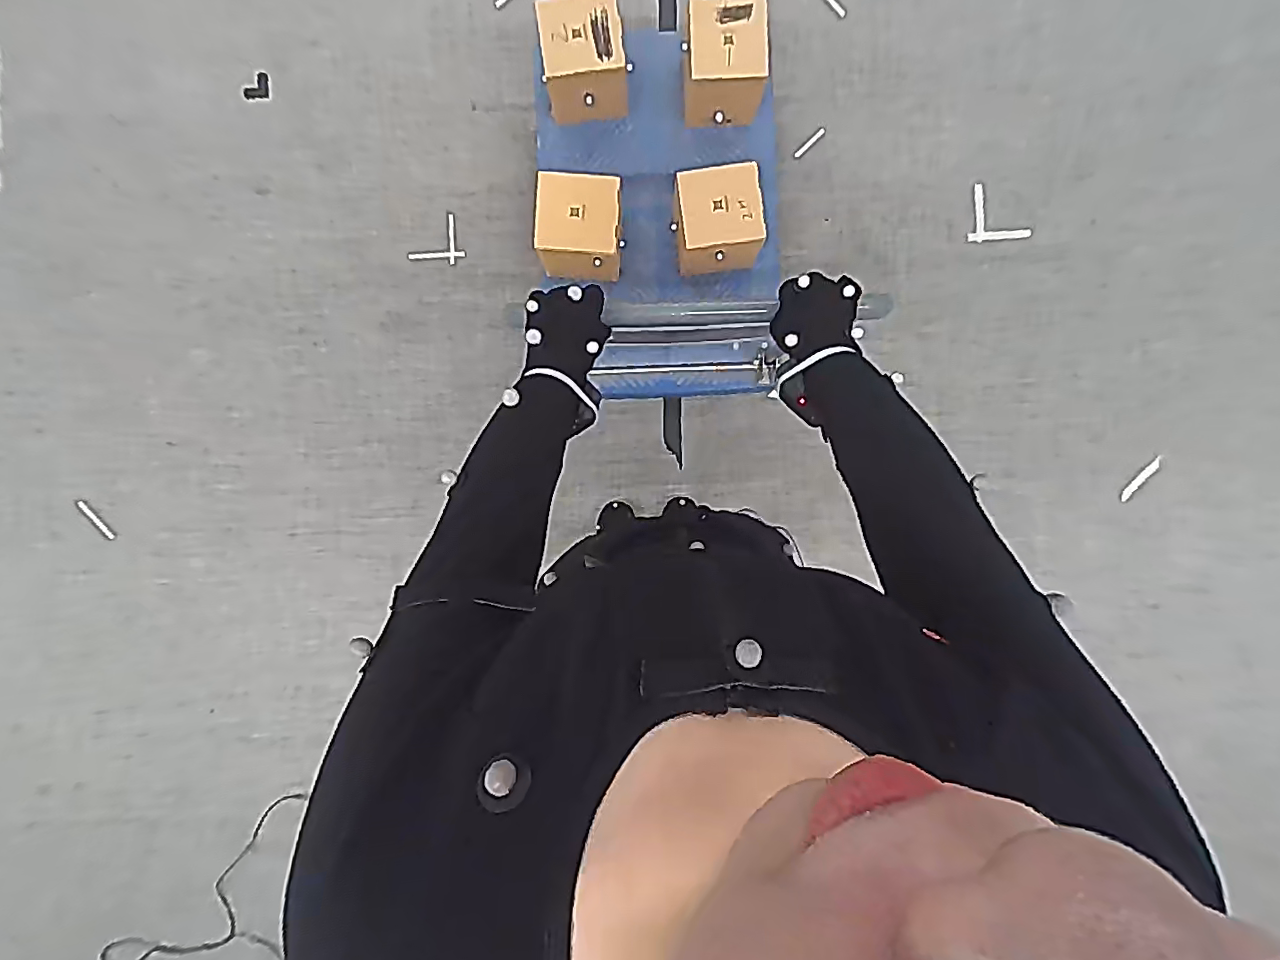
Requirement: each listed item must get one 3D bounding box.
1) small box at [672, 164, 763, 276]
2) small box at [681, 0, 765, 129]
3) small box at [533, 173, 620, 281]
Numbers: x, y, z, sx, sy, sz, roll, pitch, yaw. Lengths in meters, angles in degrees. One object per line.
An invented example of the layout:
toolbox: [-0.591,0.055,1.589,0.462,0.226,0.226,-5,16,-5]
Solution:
small box: [0.168,-0.584,1.235,0.179,0.176,0.168,-8,91,0]
small box: [0.182,-0.939,1.231,0.168,0.176,0.179,-2,92,0]
small box: [-0.139,-0.568,1.234,0.179,0.176,0.168,3,90,-2]
